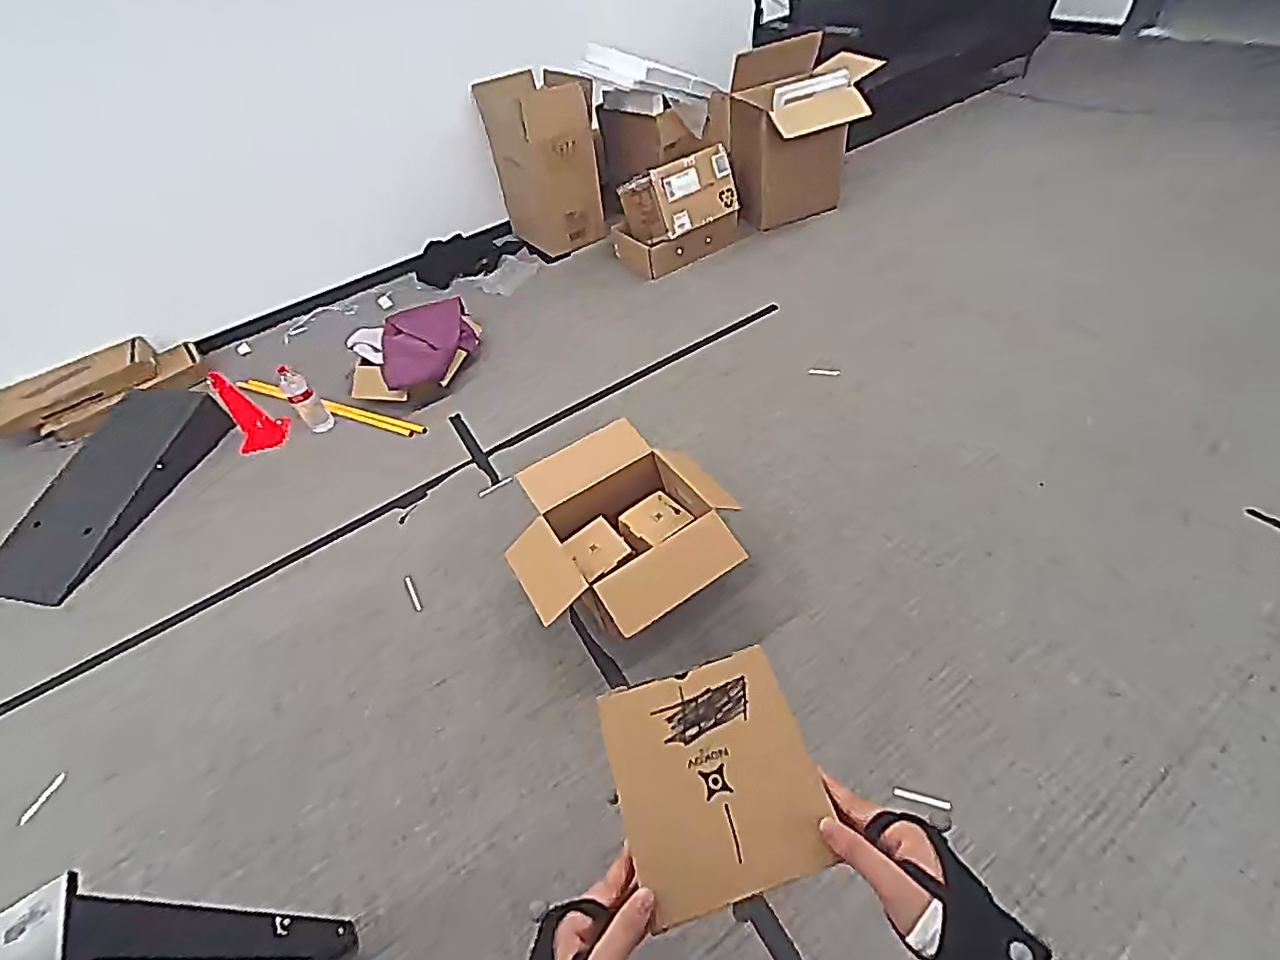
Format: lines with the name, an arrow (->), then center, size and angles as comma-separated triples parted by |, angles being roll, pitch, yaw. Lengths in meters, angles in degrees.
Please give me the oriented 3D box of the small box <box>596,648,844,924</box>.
small box -> 0.063, 0.294, 0.523 | 0.168, 0.176, 0.179 | -16, 53, -6
